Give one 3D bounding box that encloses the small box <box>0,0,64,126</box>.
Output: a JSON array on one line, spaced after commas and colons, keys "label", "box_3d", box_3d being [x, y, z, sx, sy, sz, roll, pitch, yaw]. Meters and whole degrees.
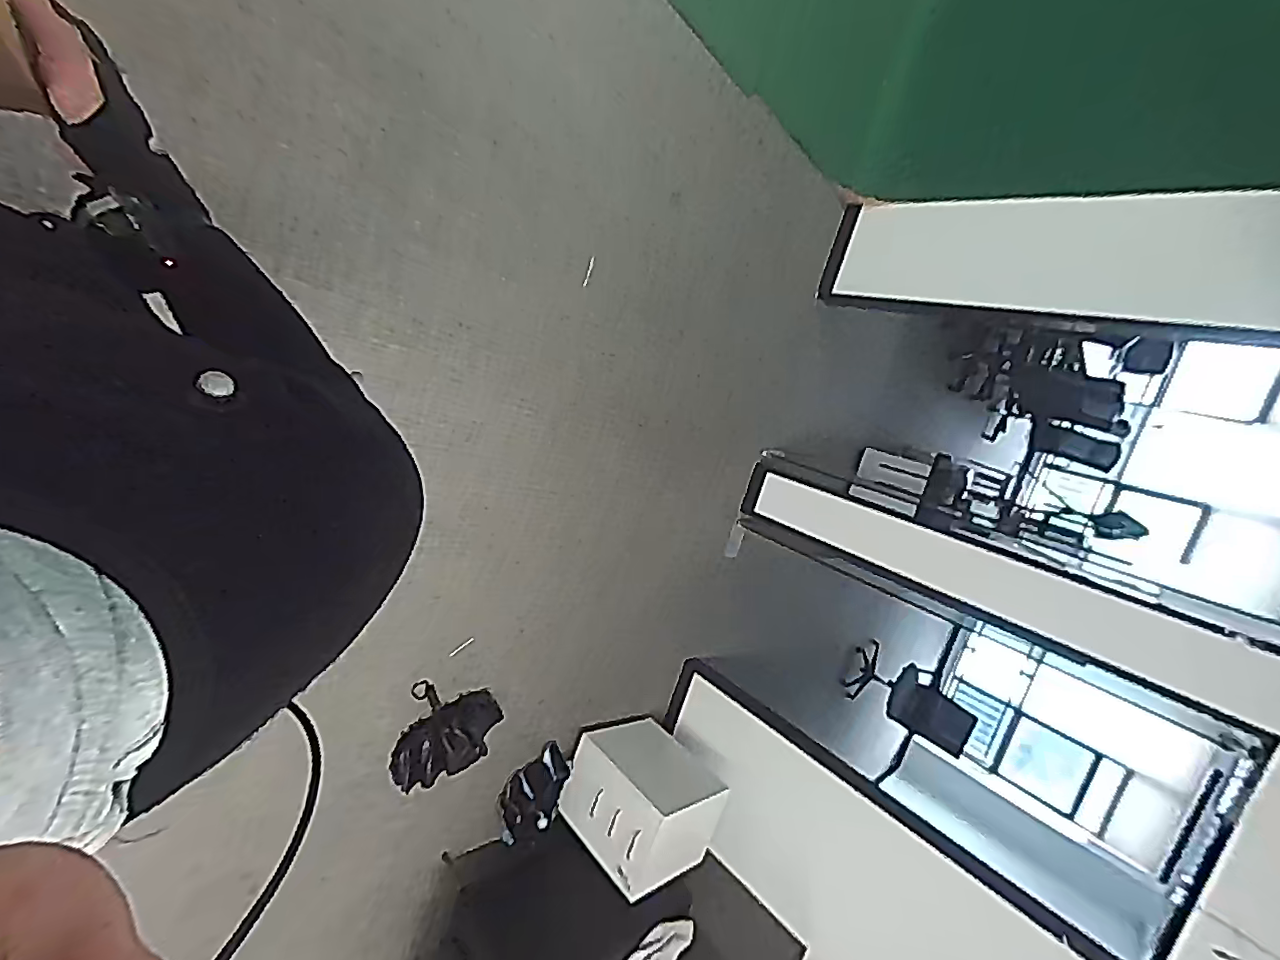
[{"label": "small box", "box_3d": [-0.471, -0.315, 0.290, 0.179, 0.176, 0.168, -17, 111, -35]}]
